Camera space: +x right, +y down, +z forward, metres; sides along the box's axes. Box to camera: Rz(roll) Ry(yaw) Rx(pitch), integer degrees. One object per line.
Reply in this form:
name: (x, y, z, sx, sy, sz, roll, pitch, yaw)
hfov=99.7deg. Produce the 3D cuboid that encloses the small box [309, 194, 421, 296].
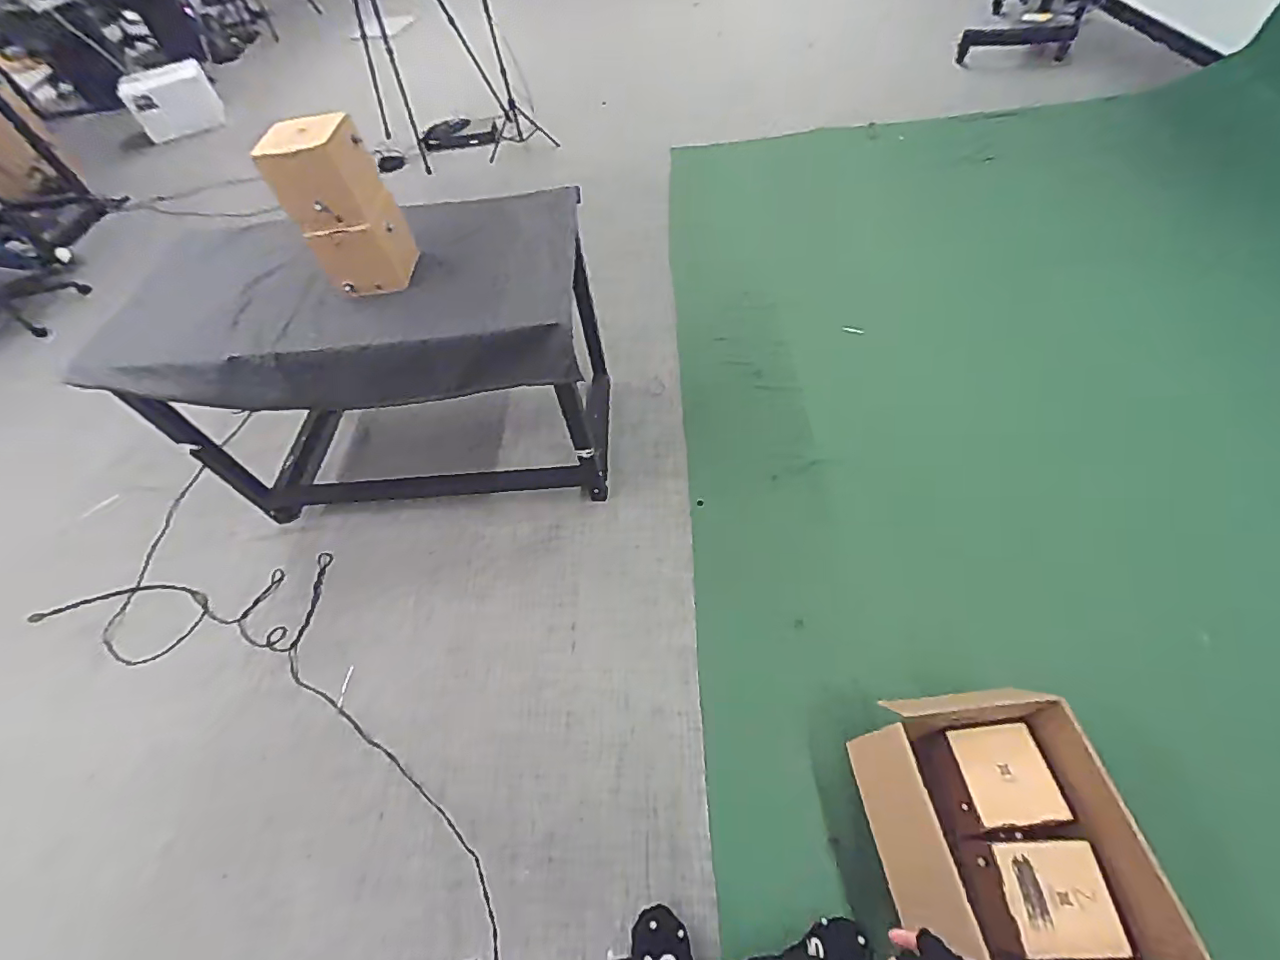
small box: (-0.666, -0.572, 1.335, 0.168, 0.176, 0.179, -5, 53, 5)

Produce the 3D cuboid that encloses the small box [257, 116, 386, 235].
small box: (-0.700, -0.679, 1.213, 0.168, 0.176, 0.179, -7, 54, 4)
